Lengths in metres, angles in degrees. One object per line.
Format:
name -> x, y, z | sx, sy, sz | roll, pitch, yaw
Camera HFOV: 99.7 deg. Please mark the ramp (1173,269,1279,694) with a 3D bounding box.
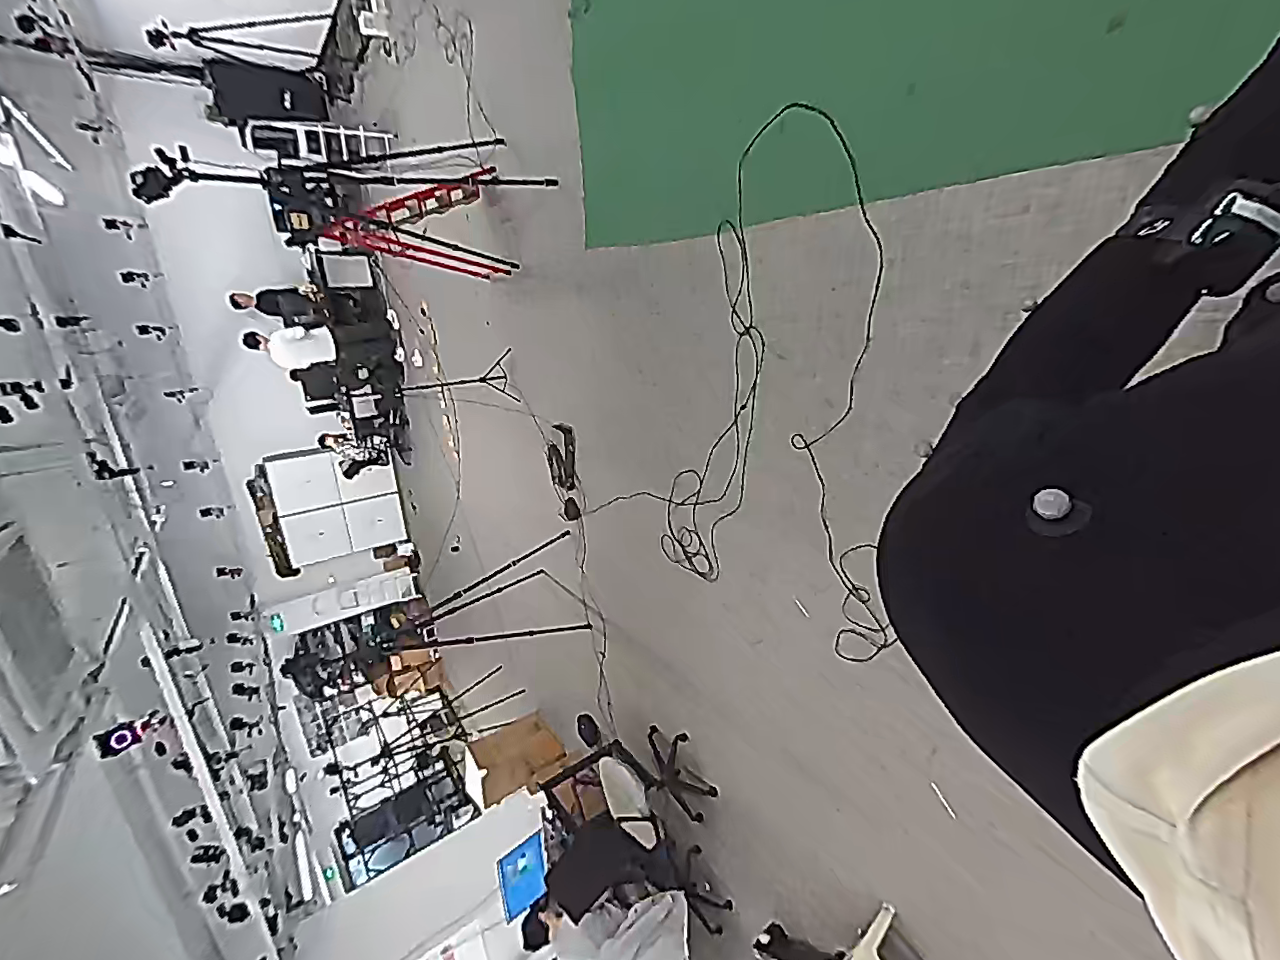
ramp -> 1.473, 0.080, 1.070 | 0.509, 0.206, 0.991 | 16, 116, 51
